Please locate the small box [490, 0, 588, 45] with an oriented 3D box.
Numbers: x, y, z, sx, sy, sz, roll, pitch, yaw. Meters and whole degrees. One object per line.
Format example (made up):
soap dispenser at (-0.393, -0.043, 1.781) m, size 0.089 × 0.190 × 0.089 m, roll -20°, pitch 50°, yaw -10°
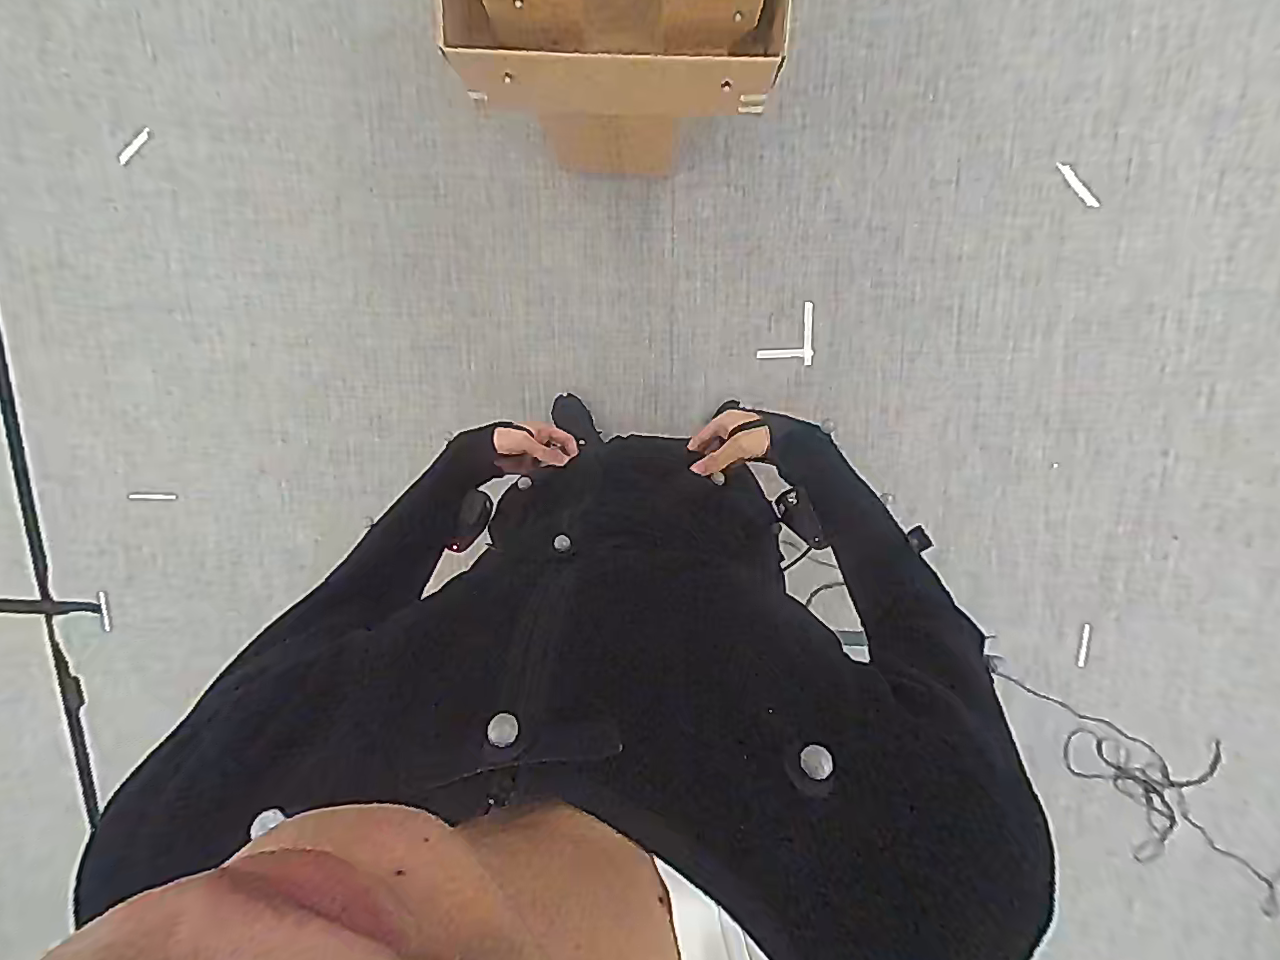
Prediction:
small box at (-0.187, -0.924, 0.961) m, size 0.168 × 0.176 × 0.179 m, roll 0°, pitch 100°, yaw 4°
